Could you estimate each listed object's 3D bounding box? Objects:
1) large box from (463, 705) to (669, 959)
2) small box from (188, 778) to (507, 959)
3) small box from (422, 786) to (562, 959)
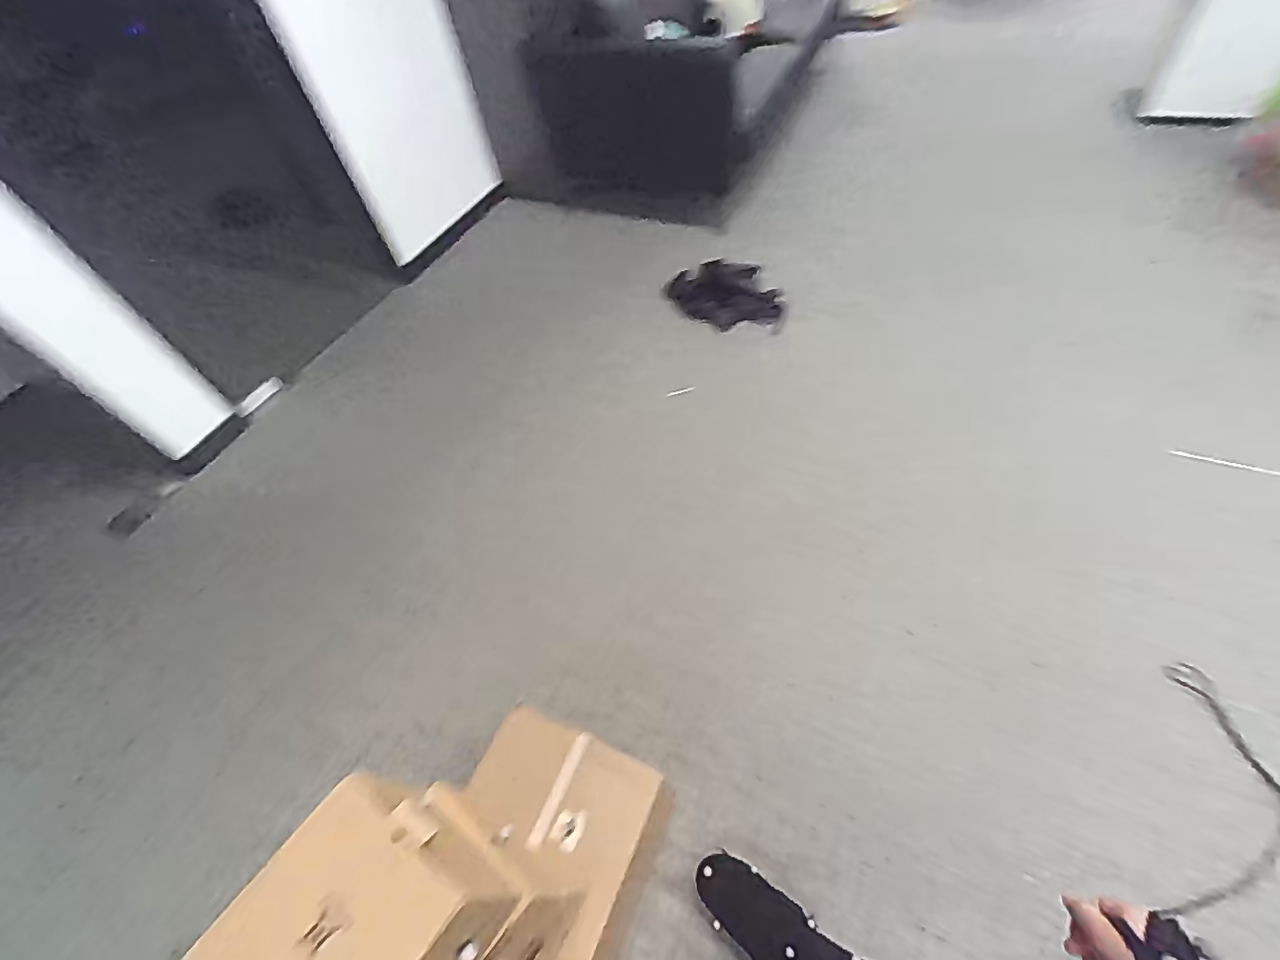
[{"bbox_3d":[-0.167,0.707,0.992,0.320,0.320,0.408,17,56,19],"label":"large box"},{"bbox_3d":[-0.247,0.419,0.503,0.168,0.176,0.179,27,62,26],"label":"small box"},{"bbox_3d":[-0.220,0.506,0.638,0.179,0.176,0.168,30,62,27],"label":"small box"}]
